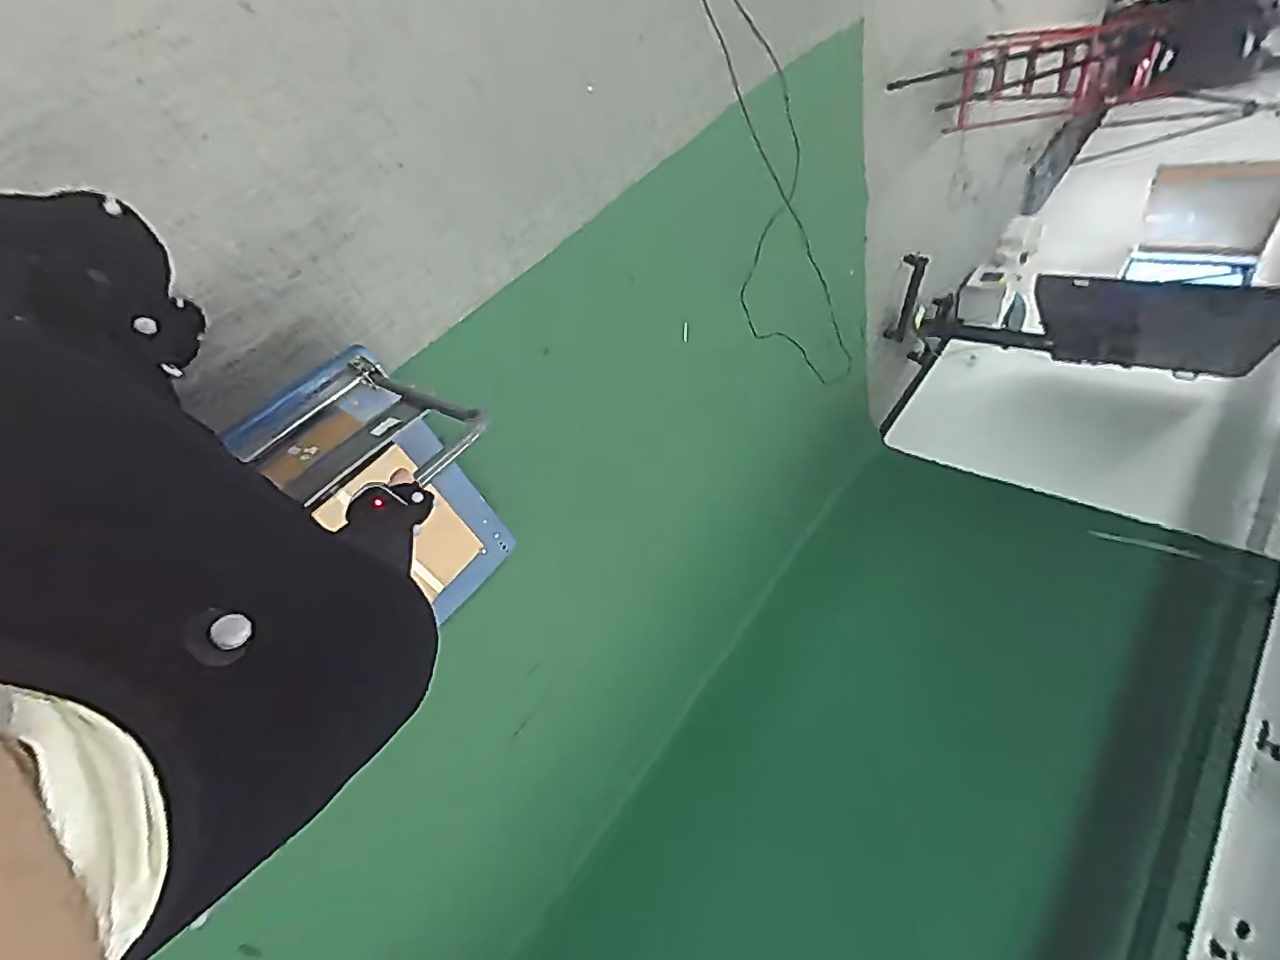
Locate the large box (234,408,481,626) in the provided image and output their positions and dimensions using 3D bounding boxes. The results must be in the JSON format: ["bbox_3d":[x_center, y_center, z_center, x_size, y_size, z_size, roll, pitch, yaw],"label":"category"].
[{"bbox_3d":[-0.693,0.090,1.364,0.320,0.320,0.408,-47,139,-22],"label":"large box"}]
